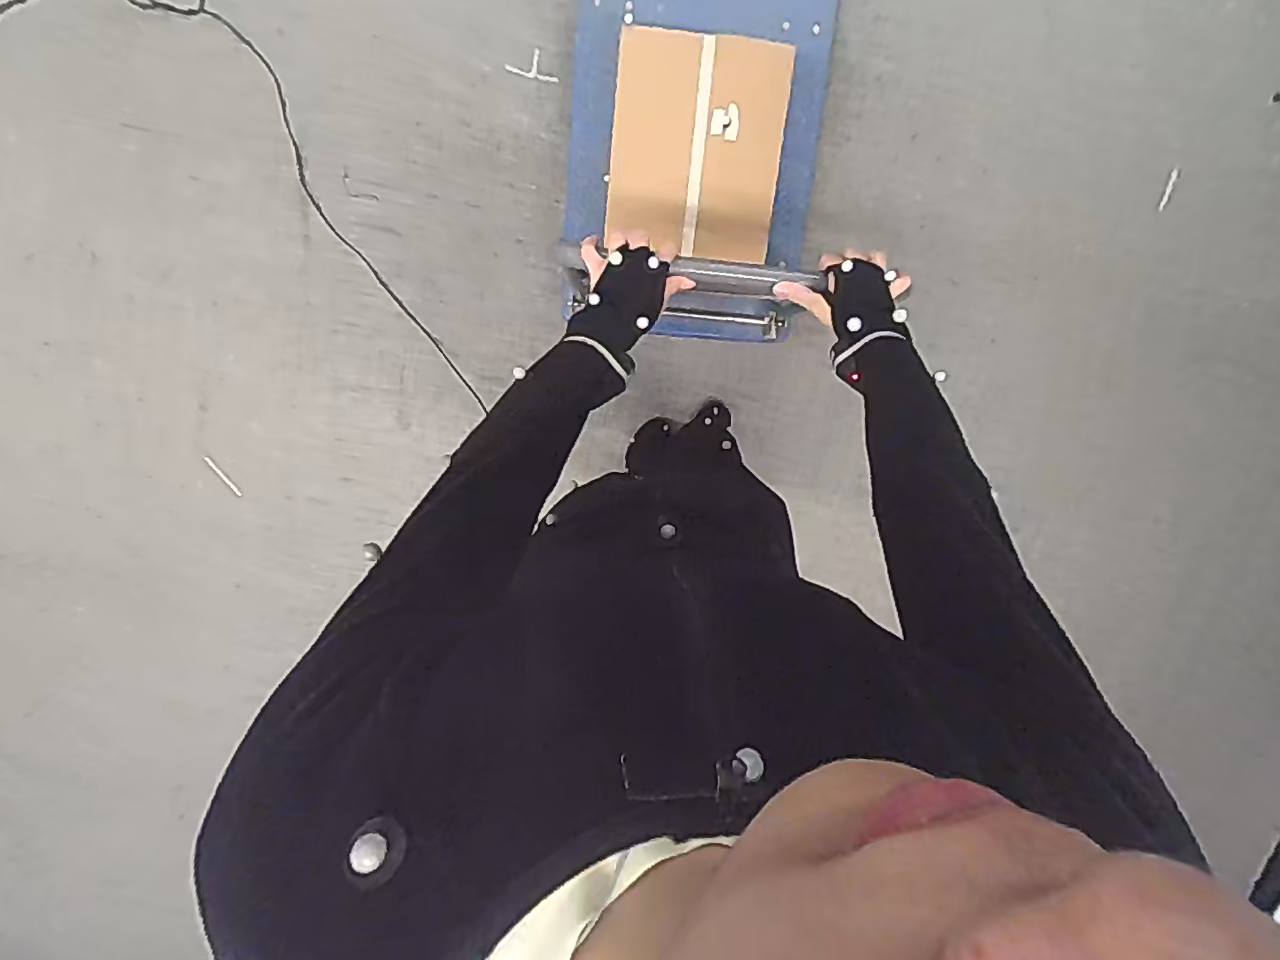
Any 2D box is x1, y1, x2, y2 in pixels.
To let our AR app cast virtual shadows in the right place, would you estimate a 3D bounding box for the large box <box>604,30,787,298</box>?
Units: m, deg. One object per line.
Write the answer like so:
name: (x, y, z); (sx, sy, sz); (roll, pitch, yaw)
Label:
large box: (0.094, -0.622, 1.148); (0.320, 0.320, 0.408); (5, 102, -4)
